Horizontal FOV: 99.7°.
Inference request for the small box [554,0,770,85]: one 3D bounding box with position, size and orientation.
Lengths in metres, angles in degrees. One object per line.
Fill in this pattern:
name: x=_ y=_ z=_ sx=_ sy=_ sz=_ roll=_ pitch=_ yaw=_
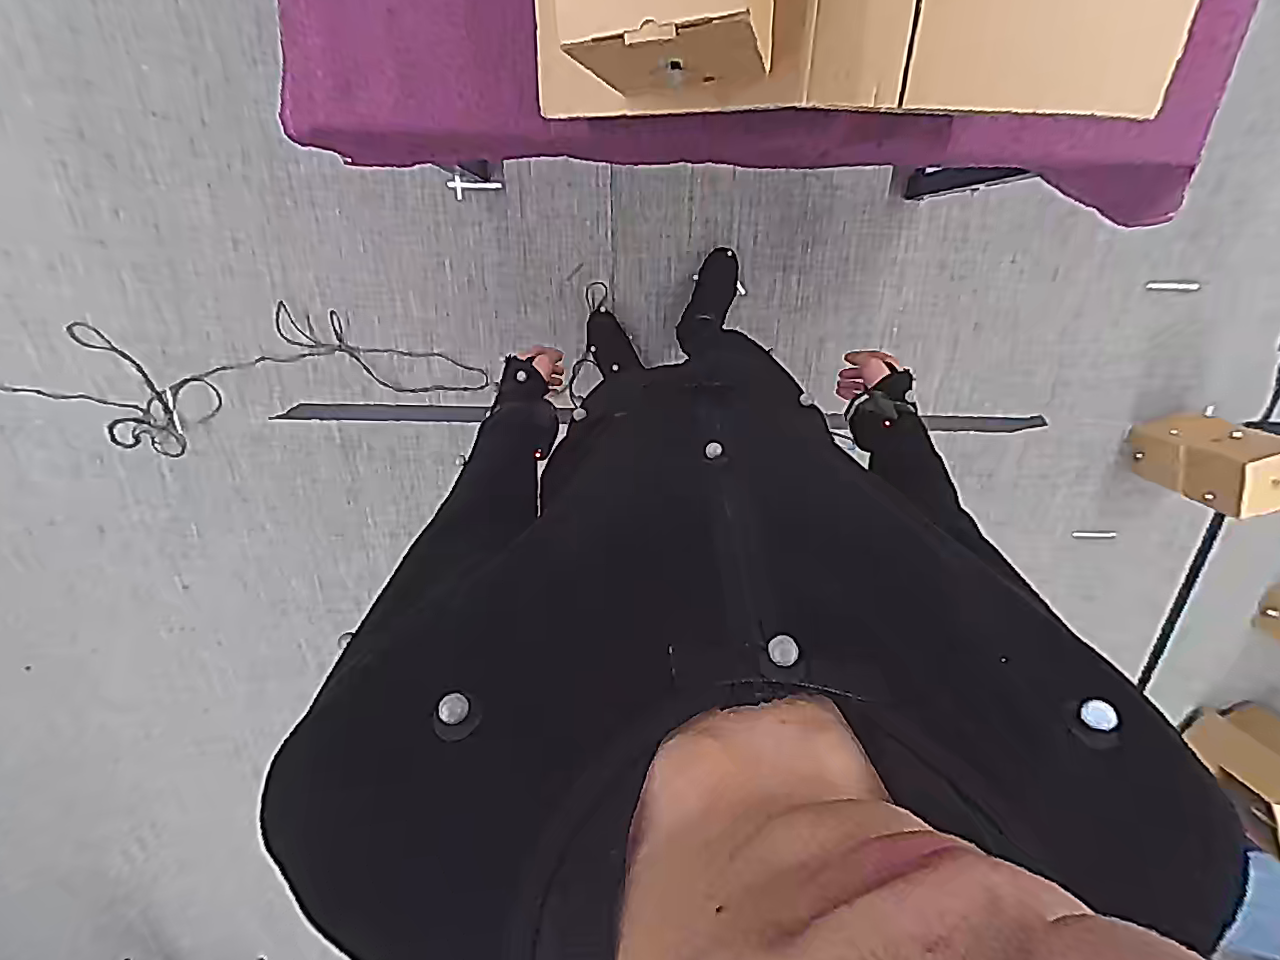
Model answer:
small box: x=0.028 y=-0.477 z=0.483 sx=0.168 sy=0.176 sz=0.179 roll=5 pitch=114 yaw=16
